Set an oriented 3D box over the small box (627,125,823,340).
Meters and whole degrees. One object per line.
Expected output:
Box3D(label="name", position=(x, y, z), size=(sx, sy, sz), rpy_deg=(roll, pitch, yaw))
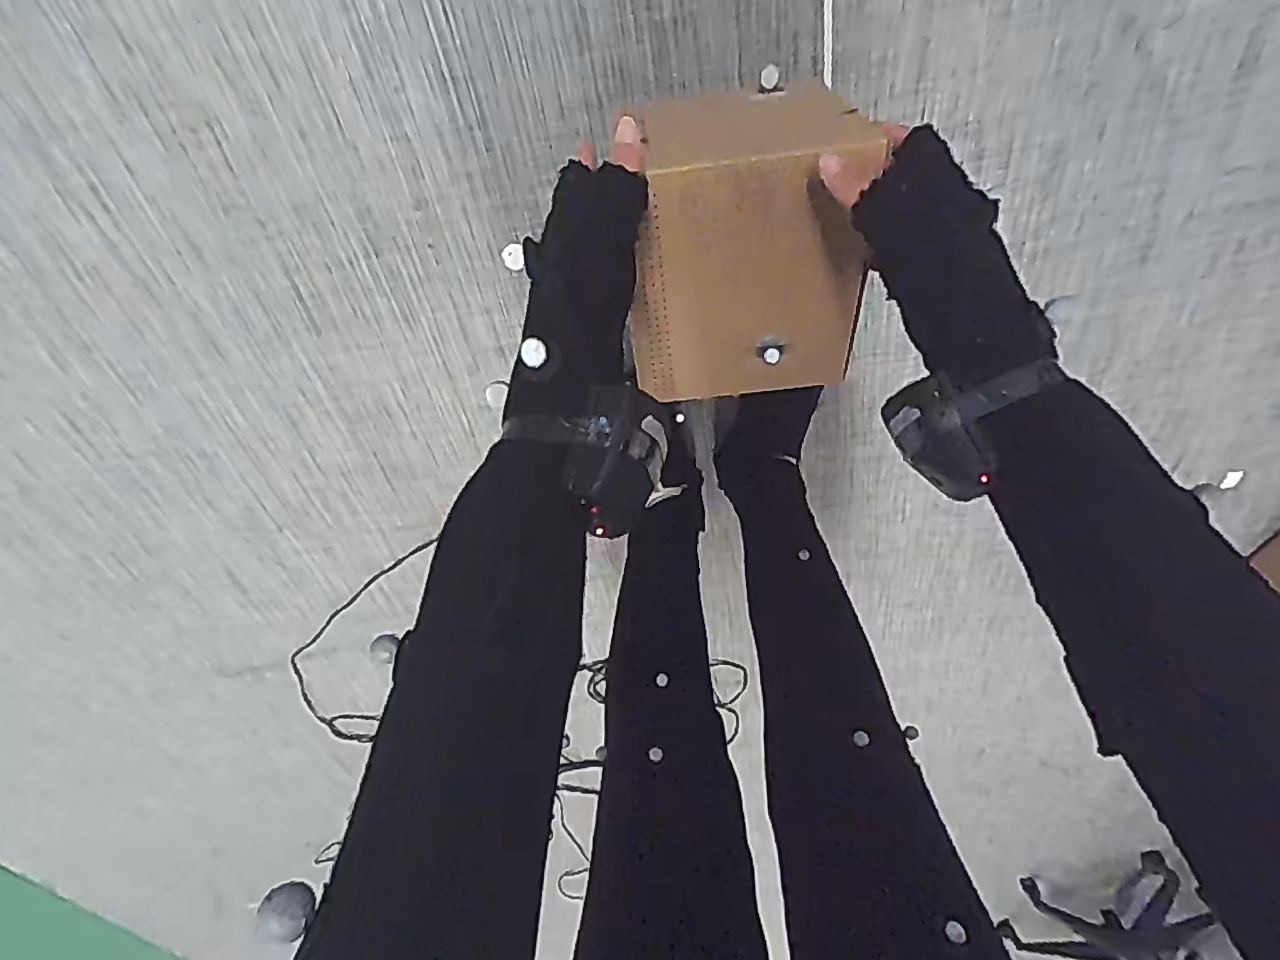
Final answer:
Box3D(label="small box", position=(0.089, -0.275, 0.593), size=(0.179, 0.176, 0.168), rpy_deg=(-10, 122, 8))
